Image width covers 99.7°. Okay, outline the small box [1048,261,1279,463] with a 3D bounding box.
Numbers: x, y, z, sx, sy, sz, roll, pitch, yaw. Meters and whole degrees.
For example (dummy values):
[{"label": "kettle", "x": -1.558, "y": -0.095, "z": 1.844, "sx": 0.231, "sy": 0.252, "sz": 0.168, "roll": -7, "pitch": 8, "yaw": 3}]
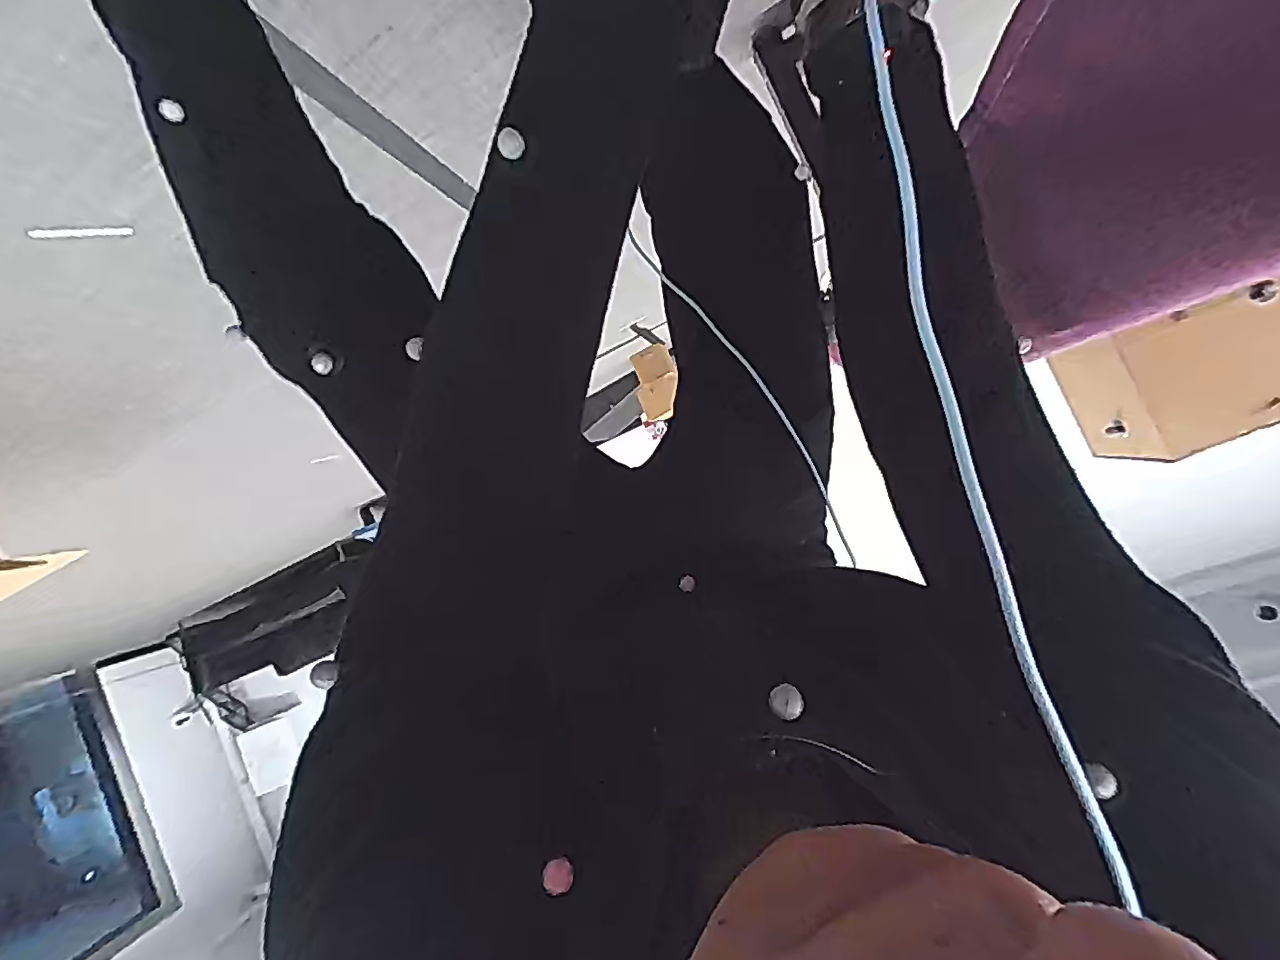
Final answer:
[{"label": "small box", "x": 0.637, "y": -0.132, "z": 0.646, "sx": 0.168, "sy": 0.176, "sz": 0.179, "roll": -24, "pitch": 177, "yaw": 17}]
